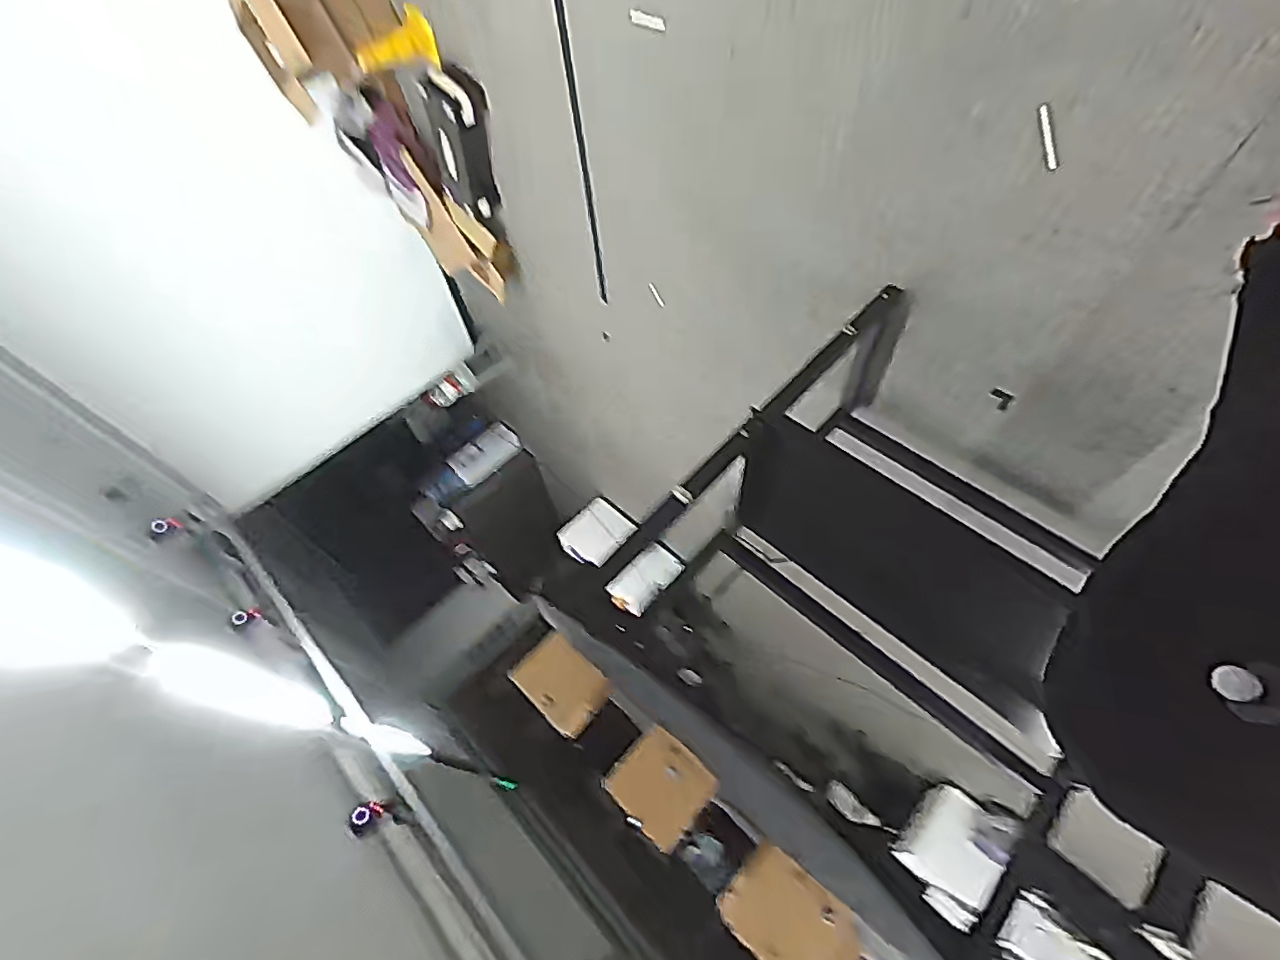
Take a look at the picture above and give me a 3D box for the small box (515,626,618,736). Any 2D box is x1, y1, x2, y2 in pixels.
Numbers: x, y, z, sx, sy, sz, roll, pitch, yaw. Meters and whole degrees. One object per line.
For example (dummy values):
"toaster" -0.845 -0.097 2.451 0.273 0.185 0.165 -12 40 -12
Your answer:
"small box" -0.166 0.480 1.292 0.168 0.176 0.179 38 159 21

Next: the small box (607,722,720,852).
"small box" 0.054 0.646 1.153 0.168 0.176 0.179 38 159 23

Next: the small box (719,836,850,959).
"small box" 0.273 0.817 1.032 0.168 0.176 0.179 39 159 24
